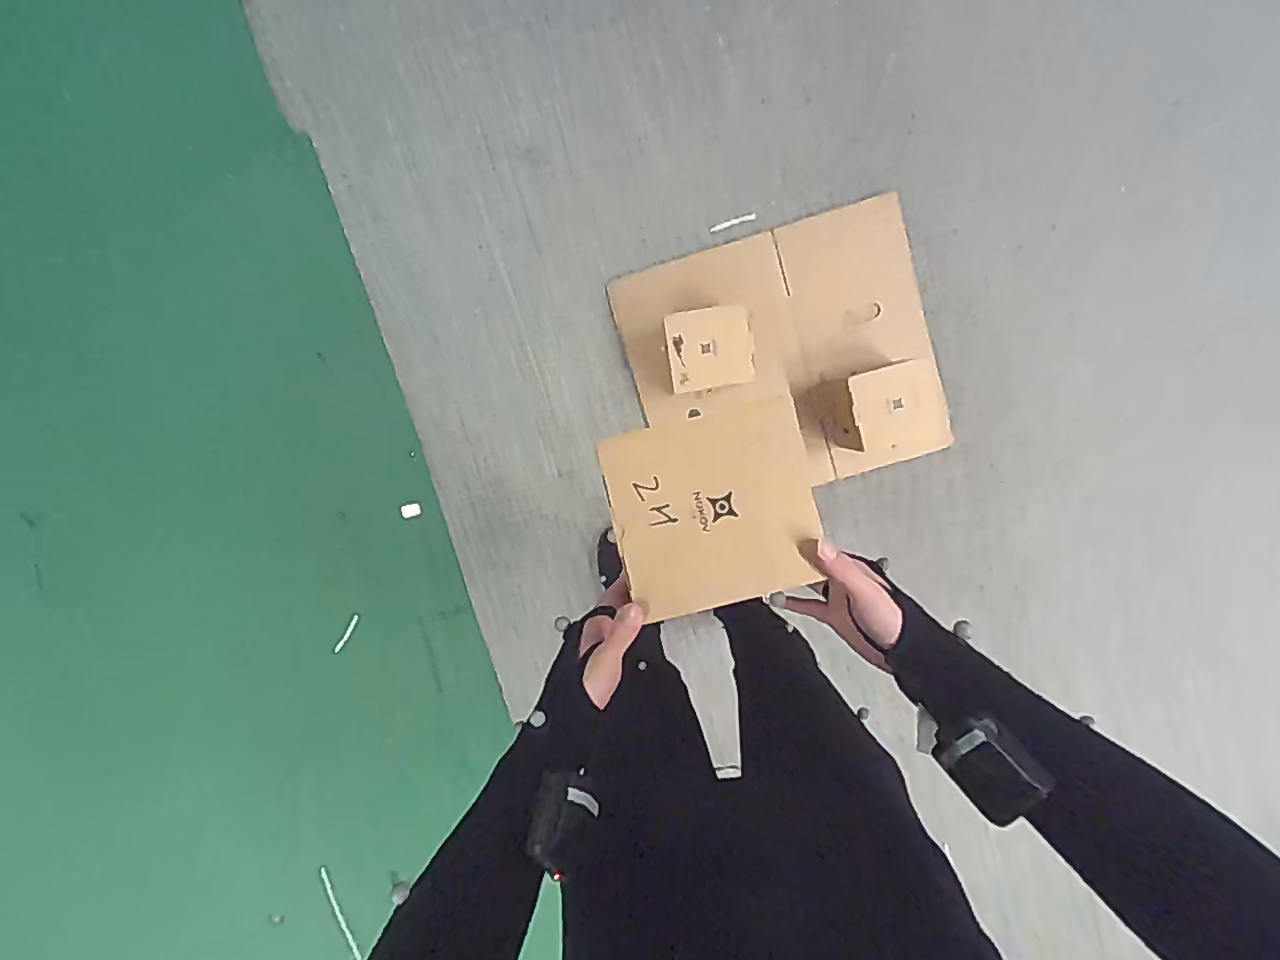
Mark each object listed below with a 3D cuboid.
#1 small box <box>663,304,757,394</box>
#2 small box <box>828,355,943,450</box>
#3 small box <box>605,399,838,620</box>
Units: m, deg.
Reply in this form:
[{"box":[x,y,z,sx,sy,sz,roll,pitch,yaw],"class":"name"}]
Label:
[{"box":[0.149,-0.284,1.199,0.179,0.176,0.168,-8,97,2],"class":"small box"},{"box":[0.538,-0.170,1.212,0.179,0.176,0.168,-15,97,3],"class":"small box"},{"box":[0.070,0.033,0.549,0.179,0.176,0.168,-13,82,0],"class":"small box"}]
